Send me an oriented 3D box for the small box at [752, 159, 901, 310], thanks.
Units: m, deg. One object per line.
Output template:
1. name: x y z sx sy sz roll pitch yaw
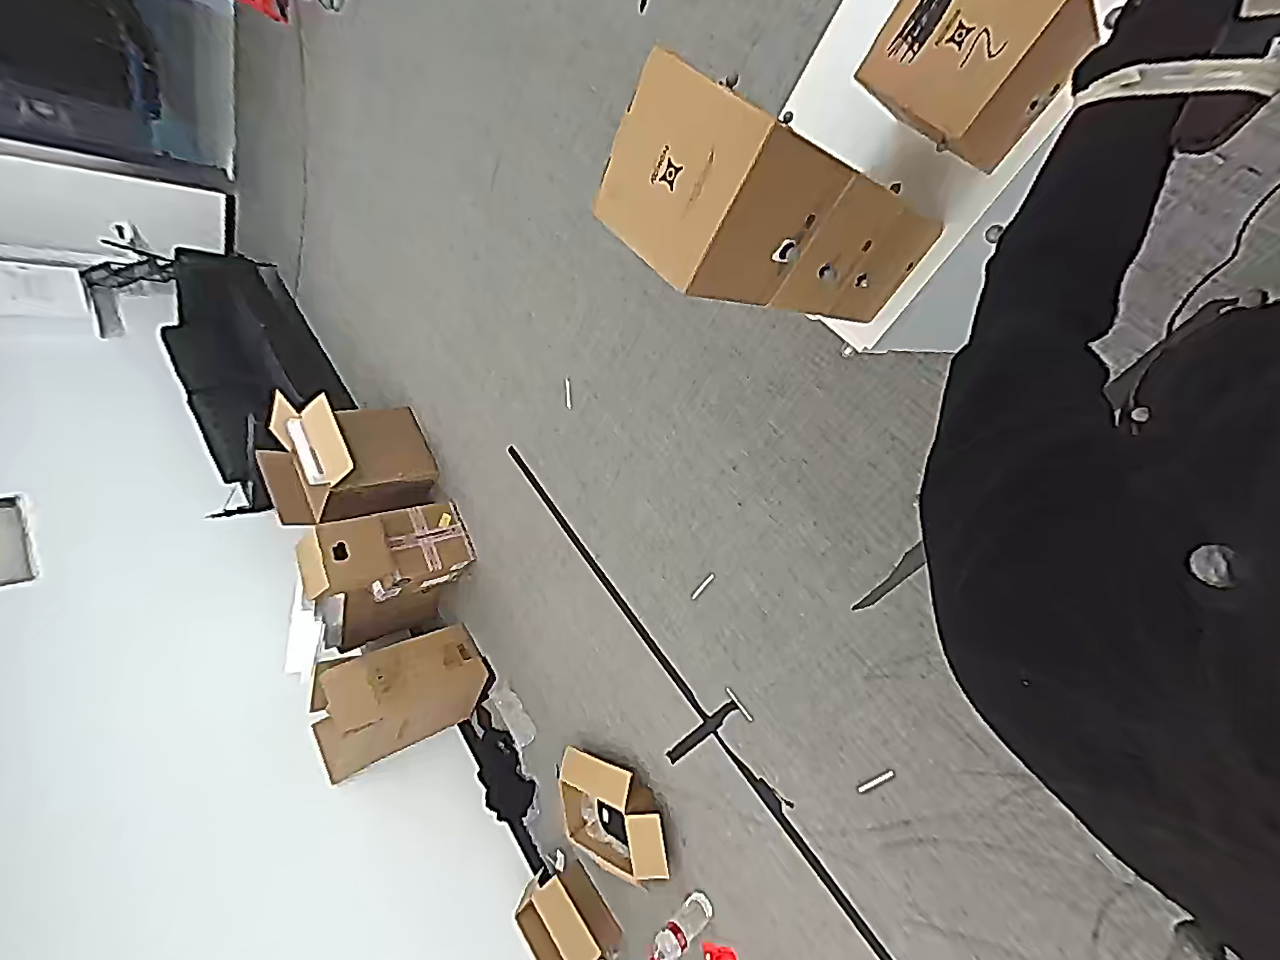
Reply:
1. small box: 0.195 -0.336 0.696 0.179 0.176 0.168 50 129 25

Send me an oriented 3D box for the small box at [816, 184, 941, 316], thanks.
1. small box: 0.306 -0.363 0.813 0.179 0.176 0.168 52 130 24

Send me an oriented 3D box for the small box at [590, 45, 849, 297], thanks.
1. small box: 0.083 -0.313 0.581 0.179 0.176 0.168 49 130 24
